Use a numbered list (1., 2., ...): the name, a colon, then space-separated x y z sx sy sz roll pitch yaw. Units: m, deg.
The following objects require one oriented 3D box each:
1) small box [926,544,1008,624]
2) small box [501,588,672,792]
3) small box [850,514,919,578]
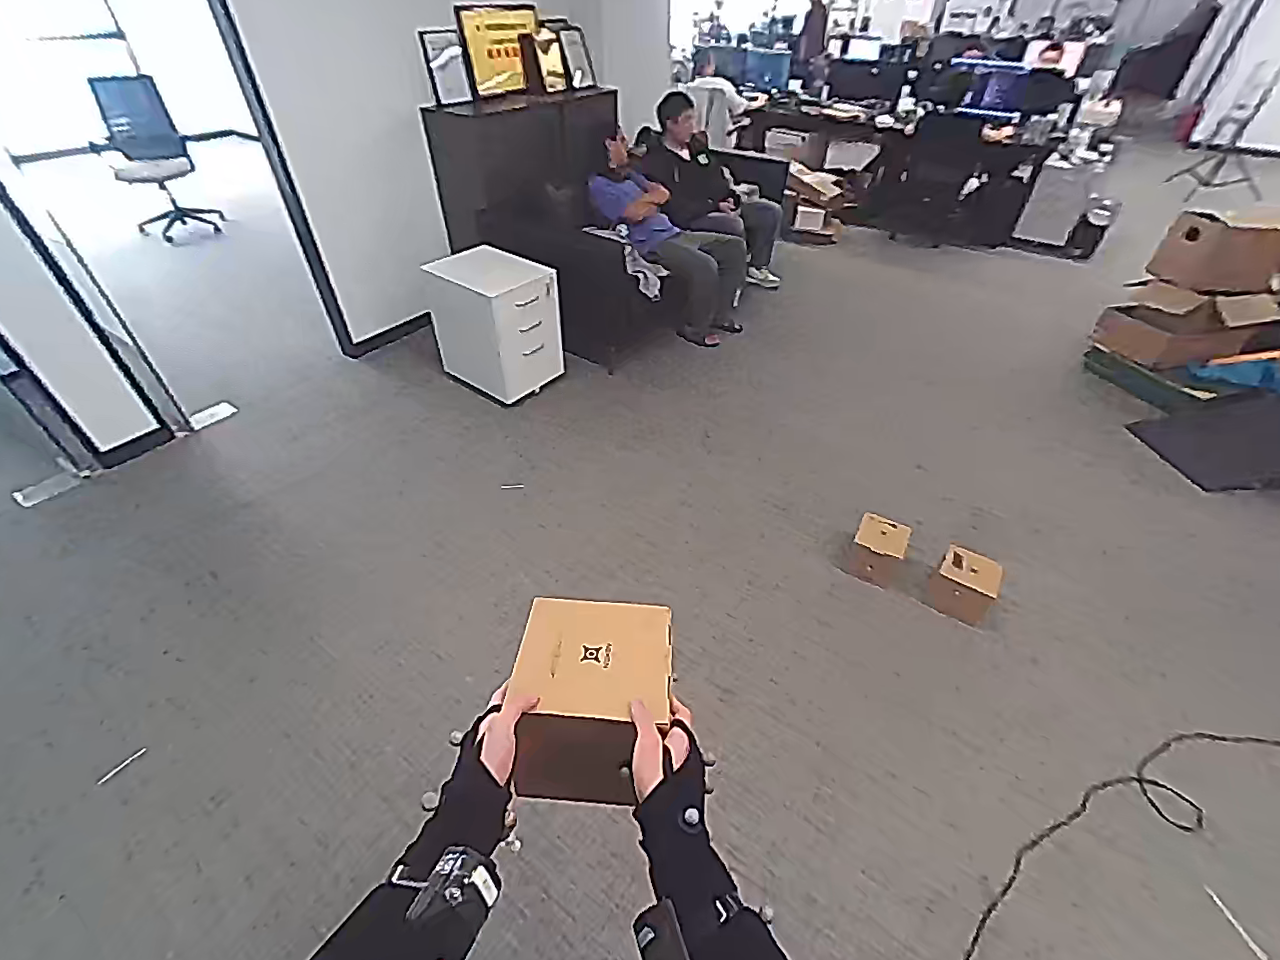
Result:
1. small box: 1.113 0.358 1.850 0.179 0.176 0.168 28 51 28
2. small box: -0.056 0.258 0.670 0.179 0.176 0.168 4 32 3
3. small box: 0.880 0.241 1.971 0.179 0.176 0.168 0 40 1
